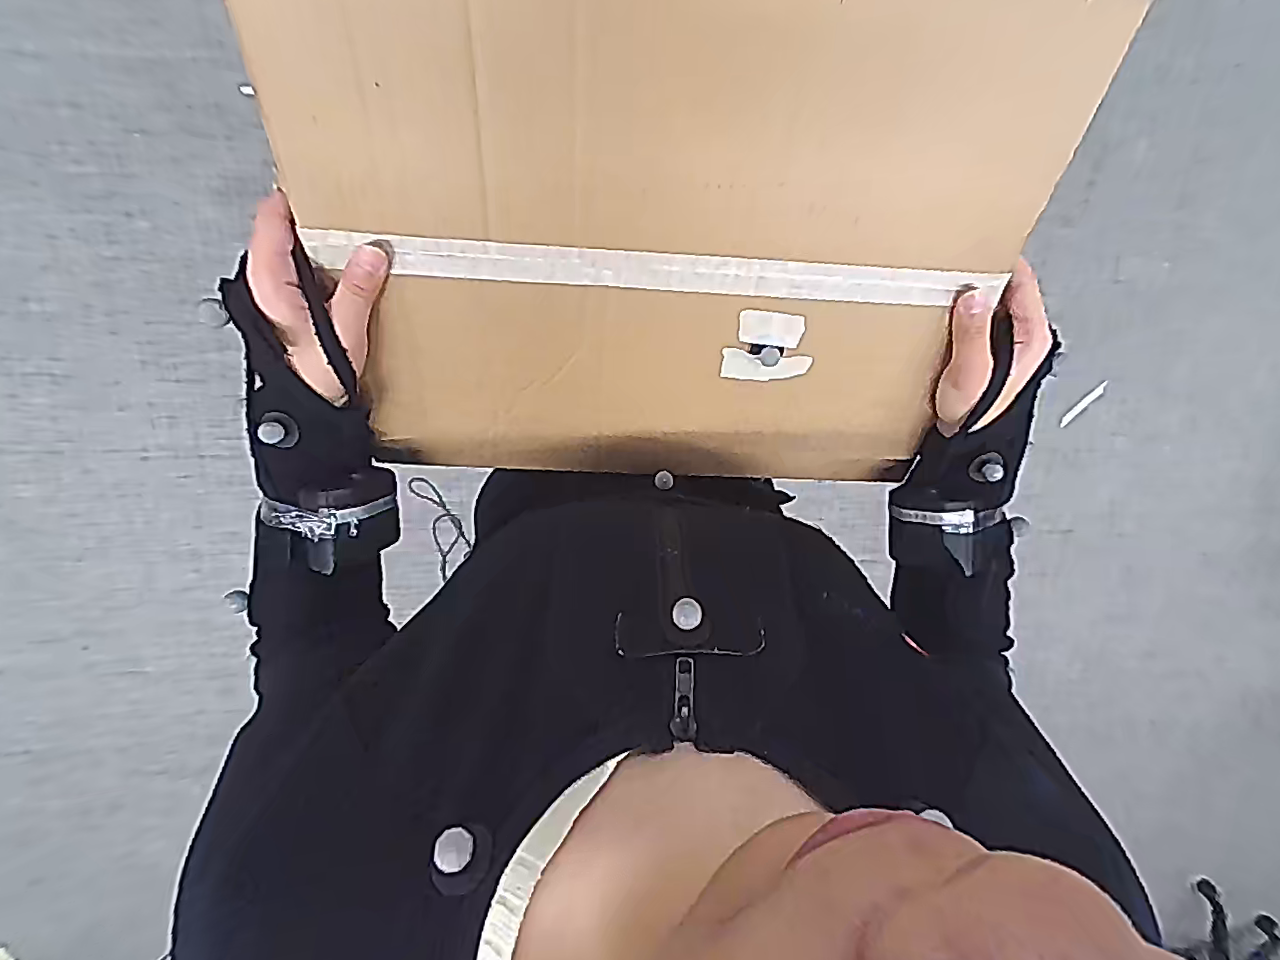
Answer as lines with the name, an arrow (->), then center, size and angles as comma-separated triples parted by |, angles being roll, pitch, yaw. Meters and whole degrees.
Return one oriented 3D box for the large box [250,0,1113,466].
large box -> 0.008, -0.224, 0.438 | 0.408, 0.320, 0.320 | 1, 132, -5
